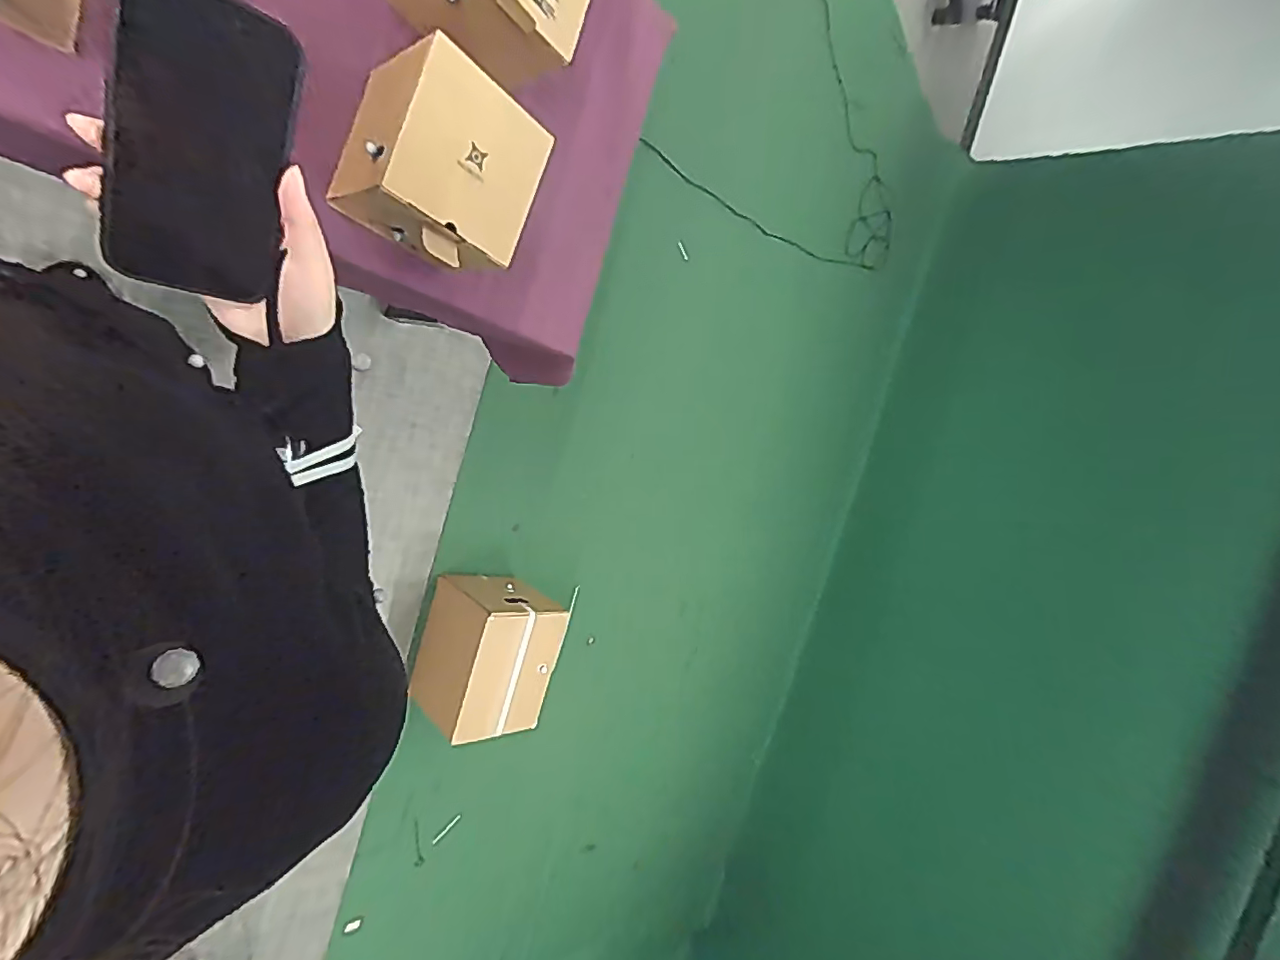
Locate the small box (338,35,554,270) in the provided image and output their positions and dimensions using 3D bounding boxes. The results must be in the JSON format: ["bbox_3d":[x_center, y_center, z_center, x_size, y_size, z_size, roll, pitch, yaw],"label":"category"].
[{"bbox_3d":[-0.241,-0.380,0.665,0.168,0.176,0.179,20,90,-48],"label":"small box"}]

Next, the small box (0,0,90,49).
[{"bbox_3d":[-0.489,-0.456,0.374,0.168,0.176,0.179,12,95,-49],"label":"small box"}]
